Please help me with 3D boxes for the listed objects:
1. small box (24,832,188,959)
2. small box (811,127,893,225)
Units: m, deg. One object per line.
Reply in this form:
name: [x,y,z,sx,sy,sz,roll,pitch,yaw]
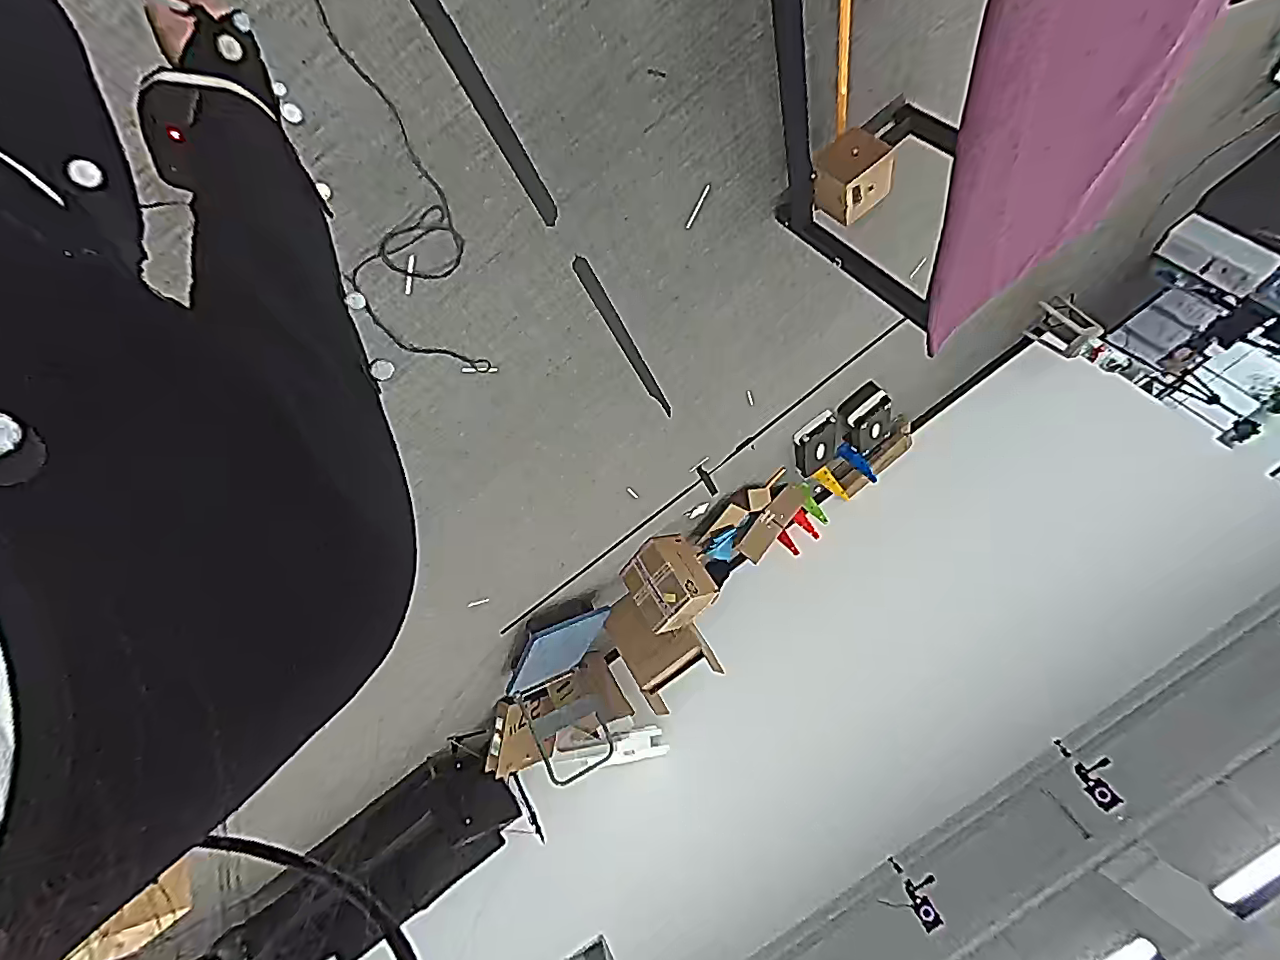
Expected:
small box: [-1.026,0.809,1.037,0.179,0.176,0.168,-39,153,7]
small box: [0.649,-0.946,1.680,0.179,0.176,0.168,-38,152,2]
